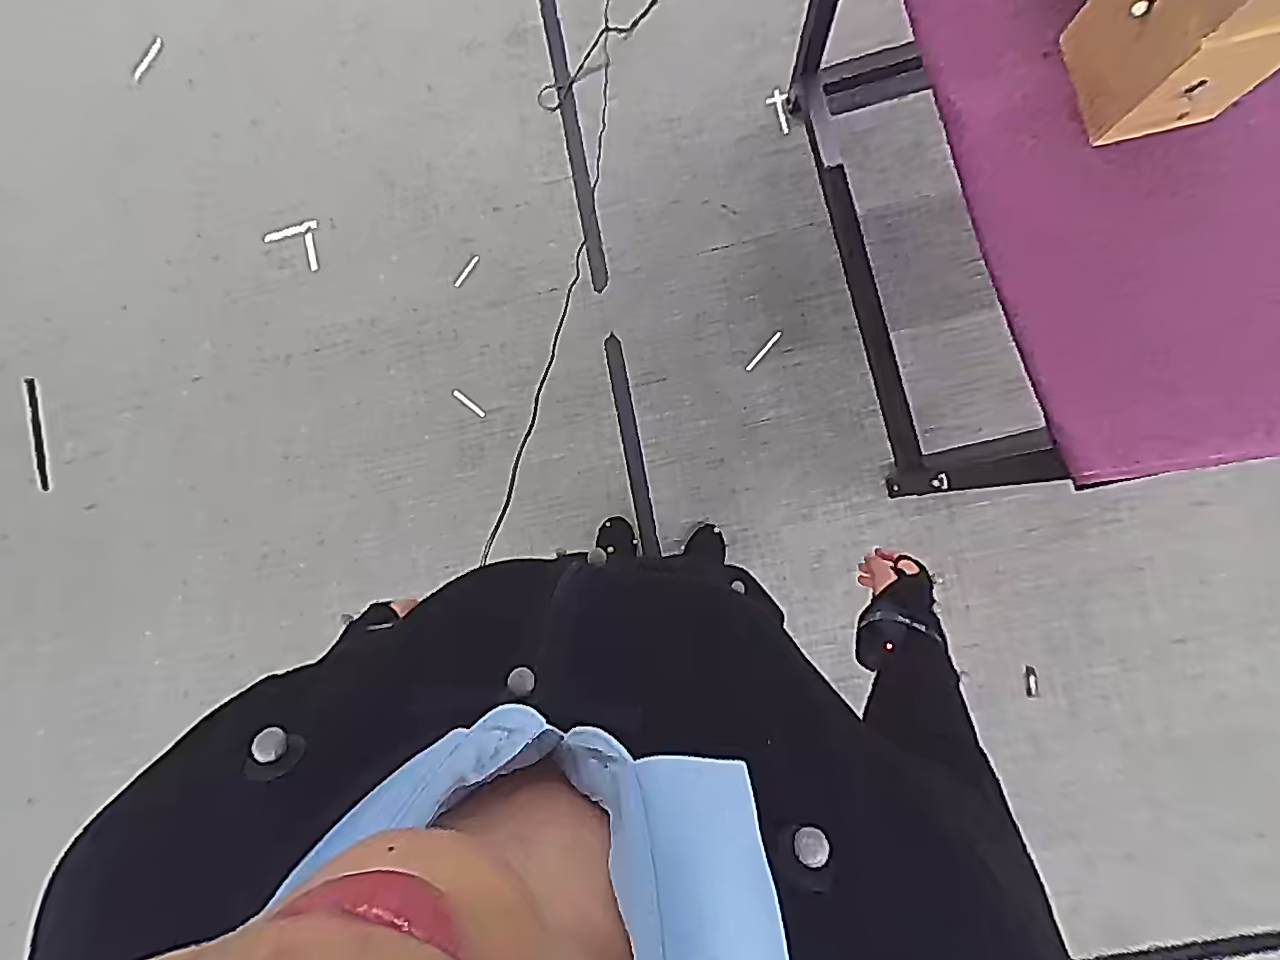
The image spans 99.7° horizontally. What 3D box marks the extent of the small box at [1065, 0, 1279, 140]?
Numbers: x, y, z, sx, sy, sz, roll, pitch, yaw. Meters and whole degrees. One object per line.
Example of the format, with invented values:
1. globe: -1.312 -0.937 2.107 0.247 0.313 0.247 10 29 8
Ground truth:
1. small box: 0.694 -0.569 0.686 0.168 0.176 0.179 -12 85 4

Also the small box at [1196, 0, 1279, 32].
1. small box: 0.687 -0.588 0.522 0.179 0.176 0.168 -11 85 4
